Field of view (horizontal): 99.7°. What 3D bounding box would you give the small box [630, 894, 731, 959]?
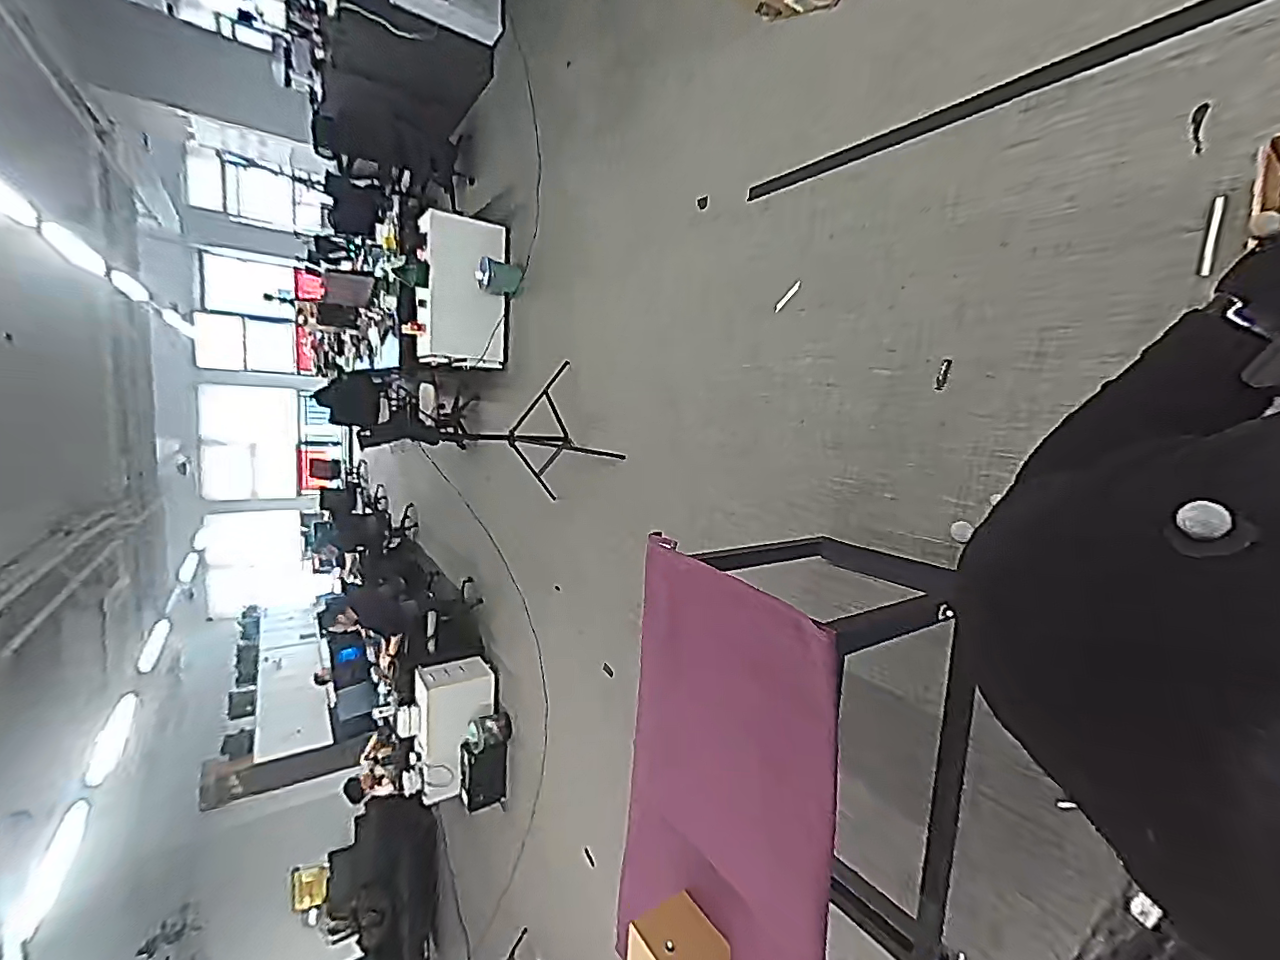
[{"bbox_3d":[0.093,1.124,1.257,0.179,0.176,0.168,14,103,55],"label":"small box"}]
